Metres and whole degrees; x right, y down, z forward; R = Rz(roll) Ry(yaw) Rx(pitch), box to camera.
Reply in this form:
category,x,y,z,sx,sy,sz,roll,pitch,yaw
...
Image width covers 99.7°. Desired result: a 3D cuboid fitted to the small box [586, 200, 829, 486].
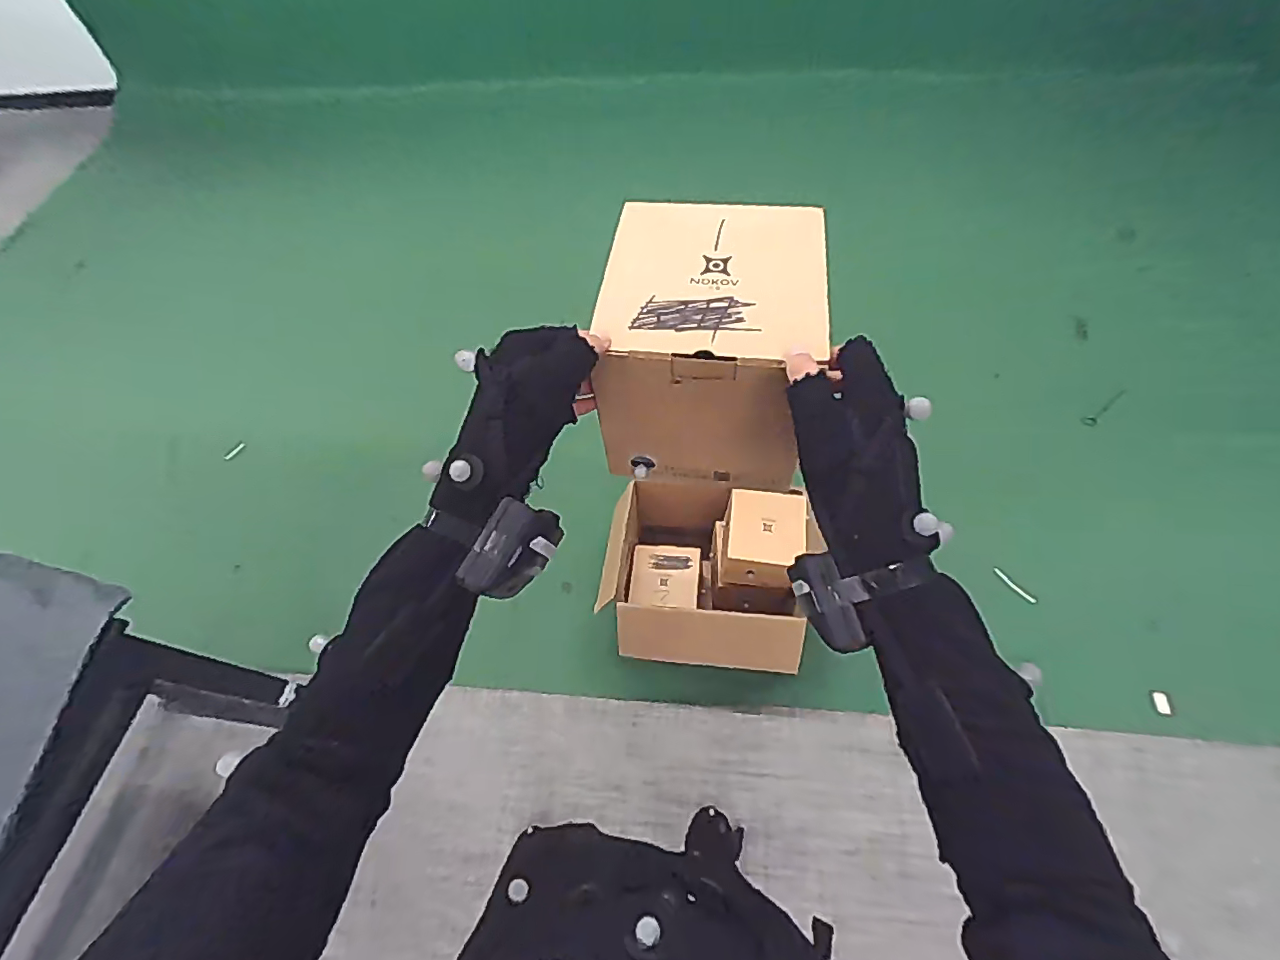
category,x,y,z,sx,sy,sz,roll,pitch,yaw
small box,0.061,-0.112,0.466,0.168,0.176,0.179,6,58,8

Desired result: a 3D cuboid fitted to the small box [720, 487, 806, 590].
category,x,y,z,sx,sy,sz,roll,pitch,yaw
small box,0.278,0.139,1.238,0.168,0.176,0.179,7,60,6
